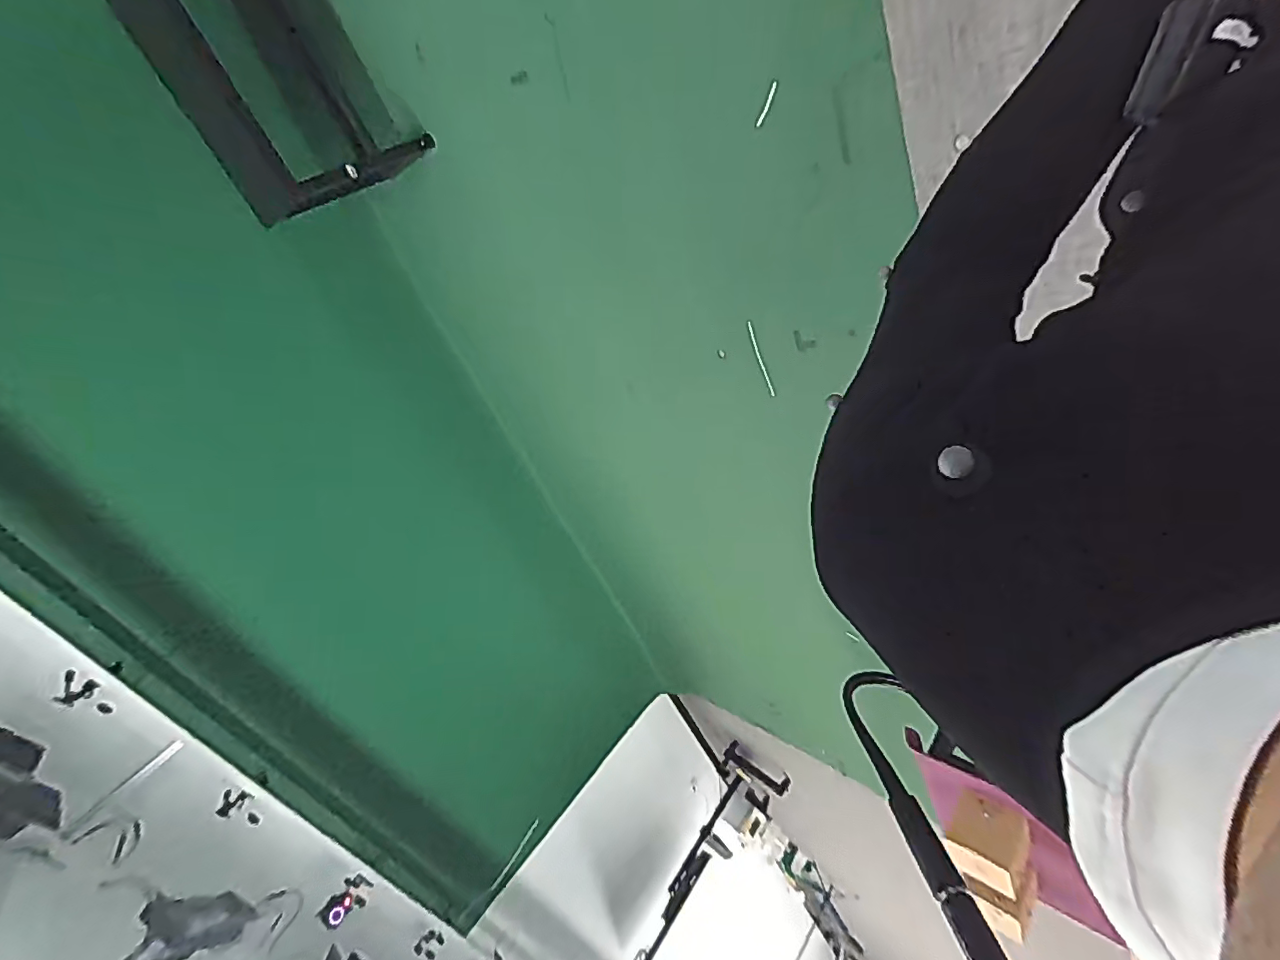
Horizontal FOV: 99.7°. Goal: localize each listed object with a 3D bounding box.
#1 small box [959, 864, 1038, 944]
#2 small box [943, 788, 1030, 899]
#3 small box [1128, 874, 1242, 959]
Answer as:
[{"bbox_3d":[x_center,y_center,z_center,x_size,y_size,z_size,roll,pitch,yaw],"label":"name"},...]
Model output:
[{"bbox_3d":[1.127,1.282,1.693,0.168,0.176,0.179,8,134,48],"label":"small box"},{"bbox_3d":[0.996,1.032,1.547,0.168,0.176,0.179,7,133,47],"label":"small box"},{"bbox_3d":[1.263,1.074,1.252,0.168,0.176,0.179,4,131,52],"label":"small box"}]
